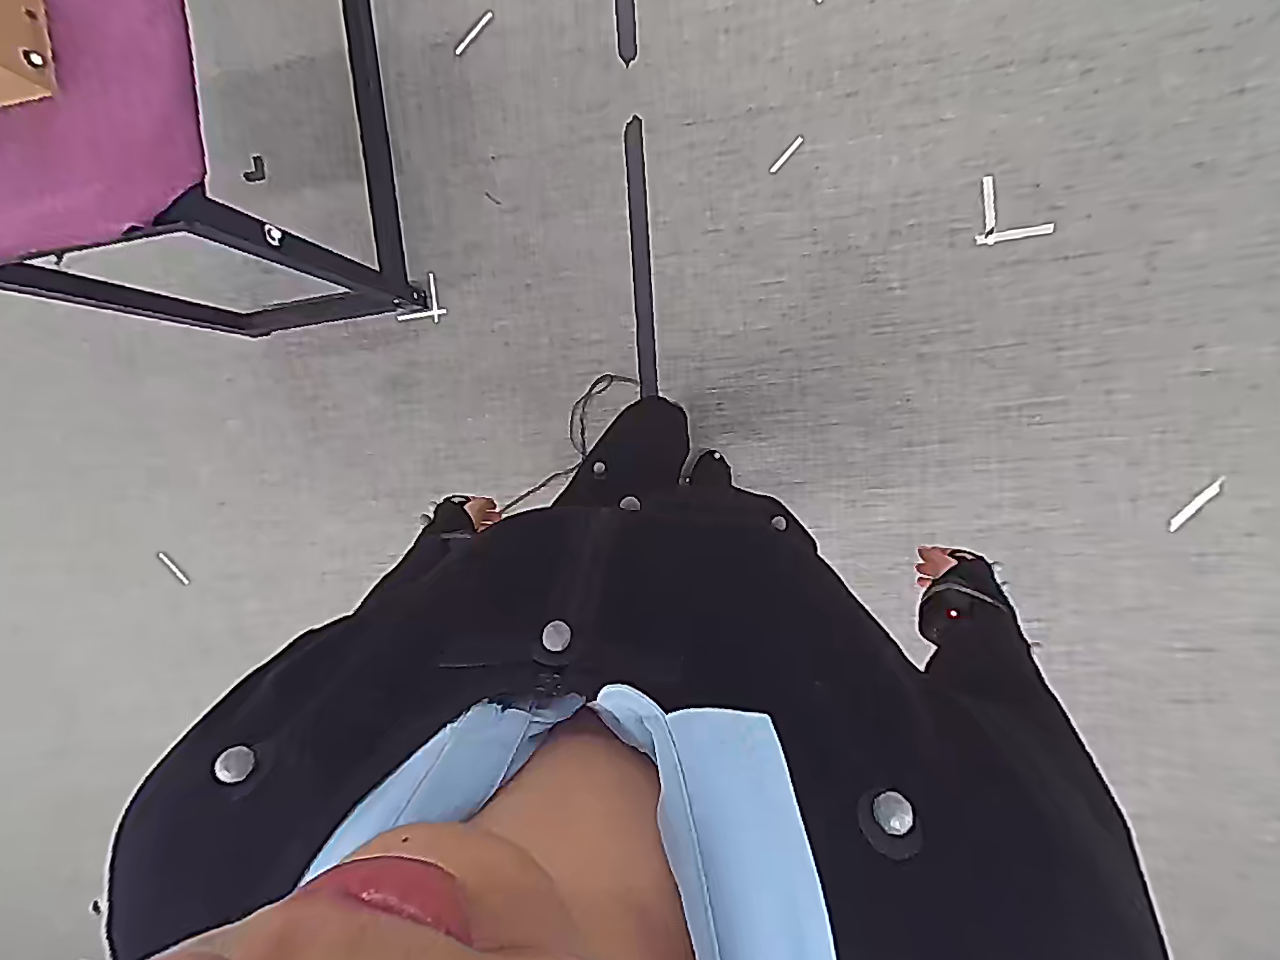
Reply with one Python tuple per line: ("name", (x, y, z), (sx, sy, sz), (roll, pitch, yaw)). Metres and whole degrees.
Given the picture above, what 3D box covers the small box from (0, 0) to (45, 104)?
("small box", (-1.005, -0.664, 0.762), (0.179, 0.176, 0.168), (-4, 94, 9))
